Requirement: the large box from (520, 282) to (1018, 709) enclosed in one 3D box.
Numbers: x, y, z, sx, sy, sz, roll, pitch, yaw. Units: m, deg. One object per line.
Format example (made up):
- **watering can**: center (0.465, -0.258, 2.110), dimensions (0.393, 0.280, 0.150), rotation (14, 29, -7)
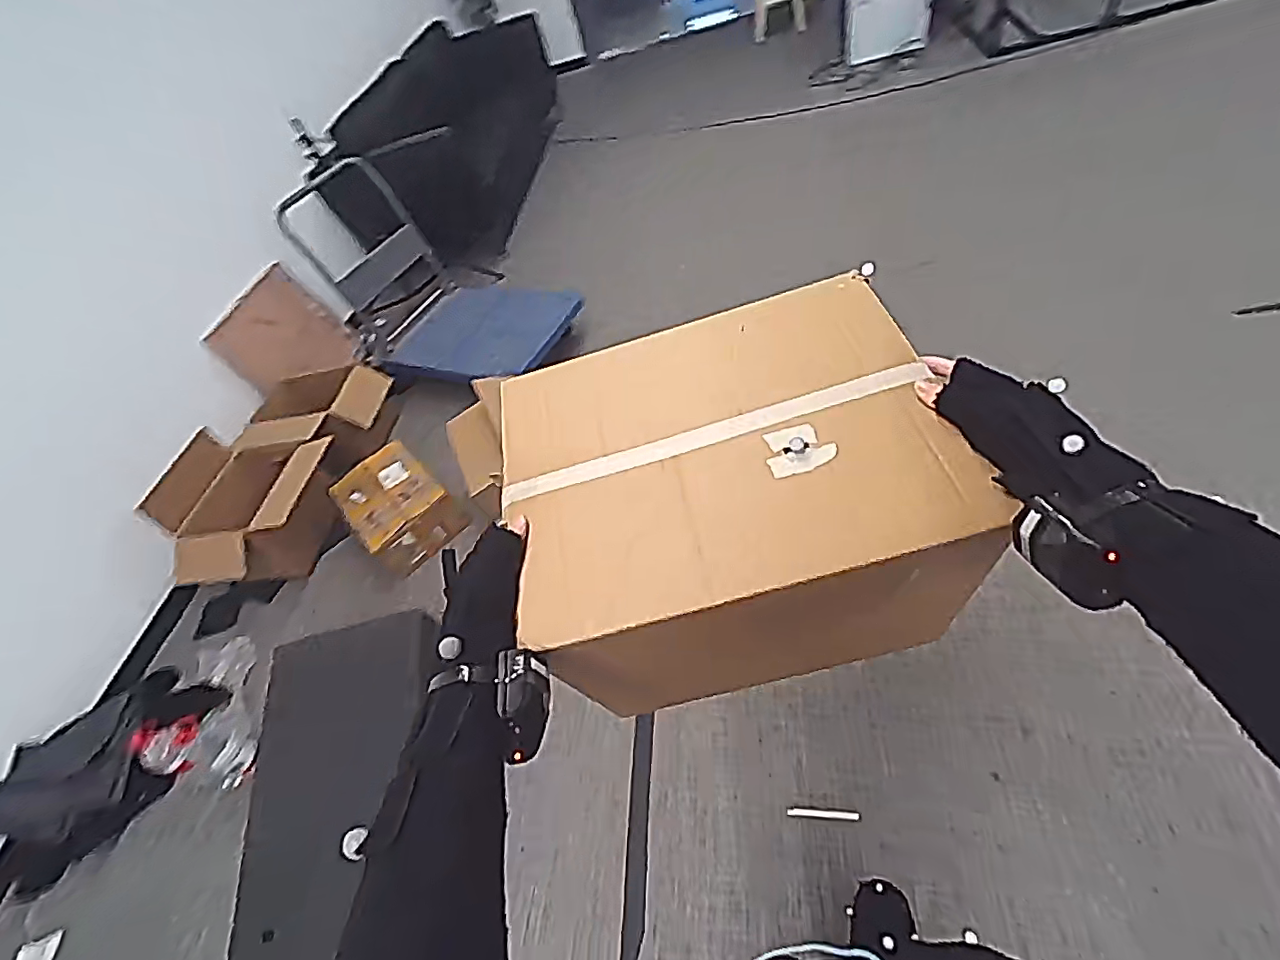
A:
- **large box**: center (0.111, 0.039, 0.638), dimensions (0.408, 0.320, 0.320), rotation (-16, 56, 5)
